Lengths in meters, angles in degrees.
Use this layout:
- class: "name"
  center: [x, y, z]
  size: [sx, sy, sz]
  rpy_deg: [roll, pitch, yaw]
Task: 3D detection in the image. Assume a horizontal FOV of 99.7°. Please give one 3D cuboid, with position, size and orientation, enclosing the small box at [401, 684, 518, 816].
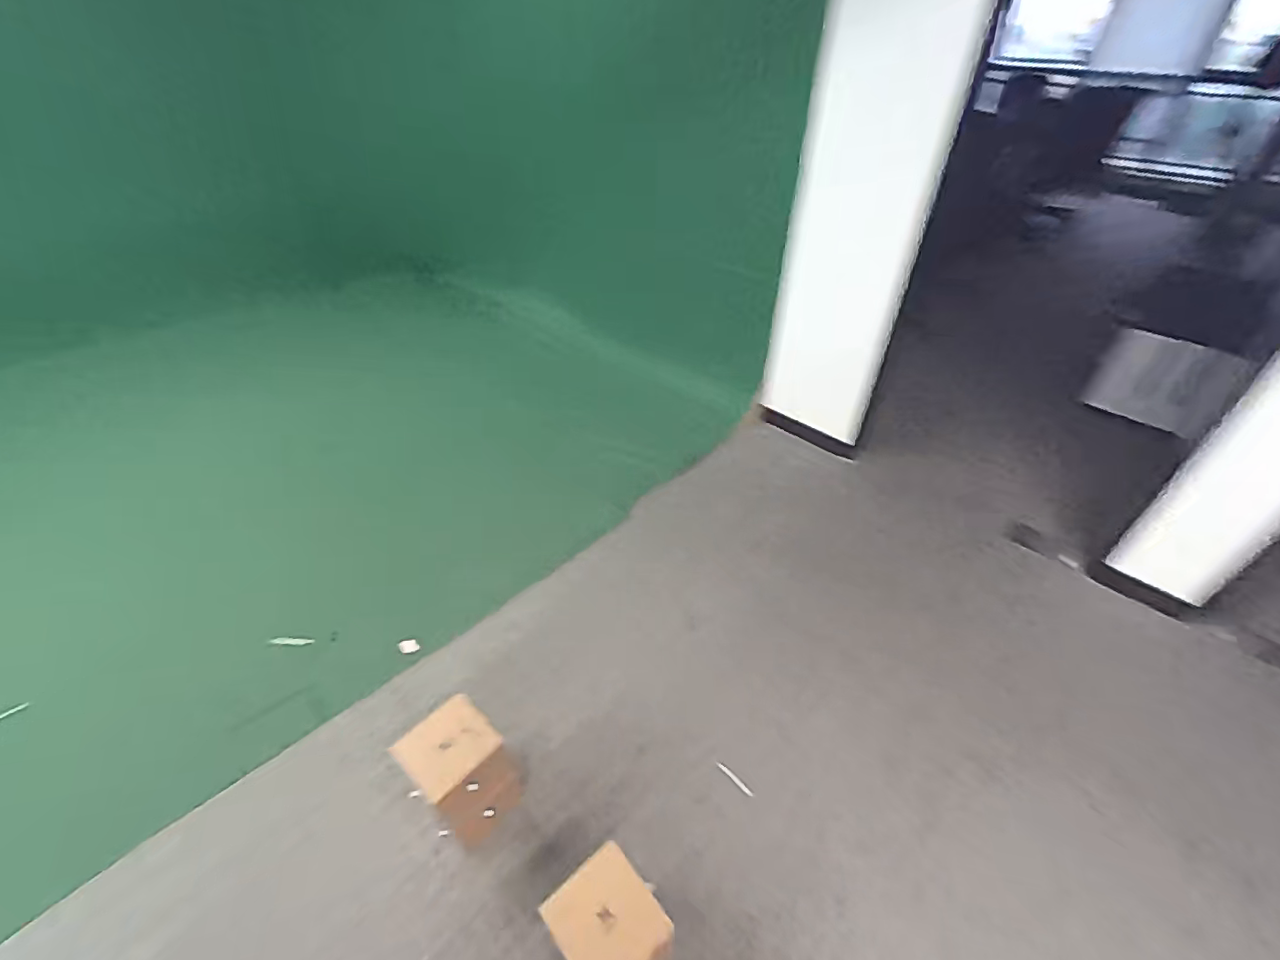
- class: "small box"
  center: [-0.397, 0.609, 1.216]
  size: [0.168, 0.176, 0.179]
  rpy_deg: [33, 51, 31]

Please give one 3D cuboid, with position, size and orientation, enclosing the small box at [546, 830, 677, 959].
- class: "small box"
  center: [-0.053, 0.803, 0.993]
  size: [0.168, 0.176, 0.179]
  rpy_deg: [-28, 49, -29]
